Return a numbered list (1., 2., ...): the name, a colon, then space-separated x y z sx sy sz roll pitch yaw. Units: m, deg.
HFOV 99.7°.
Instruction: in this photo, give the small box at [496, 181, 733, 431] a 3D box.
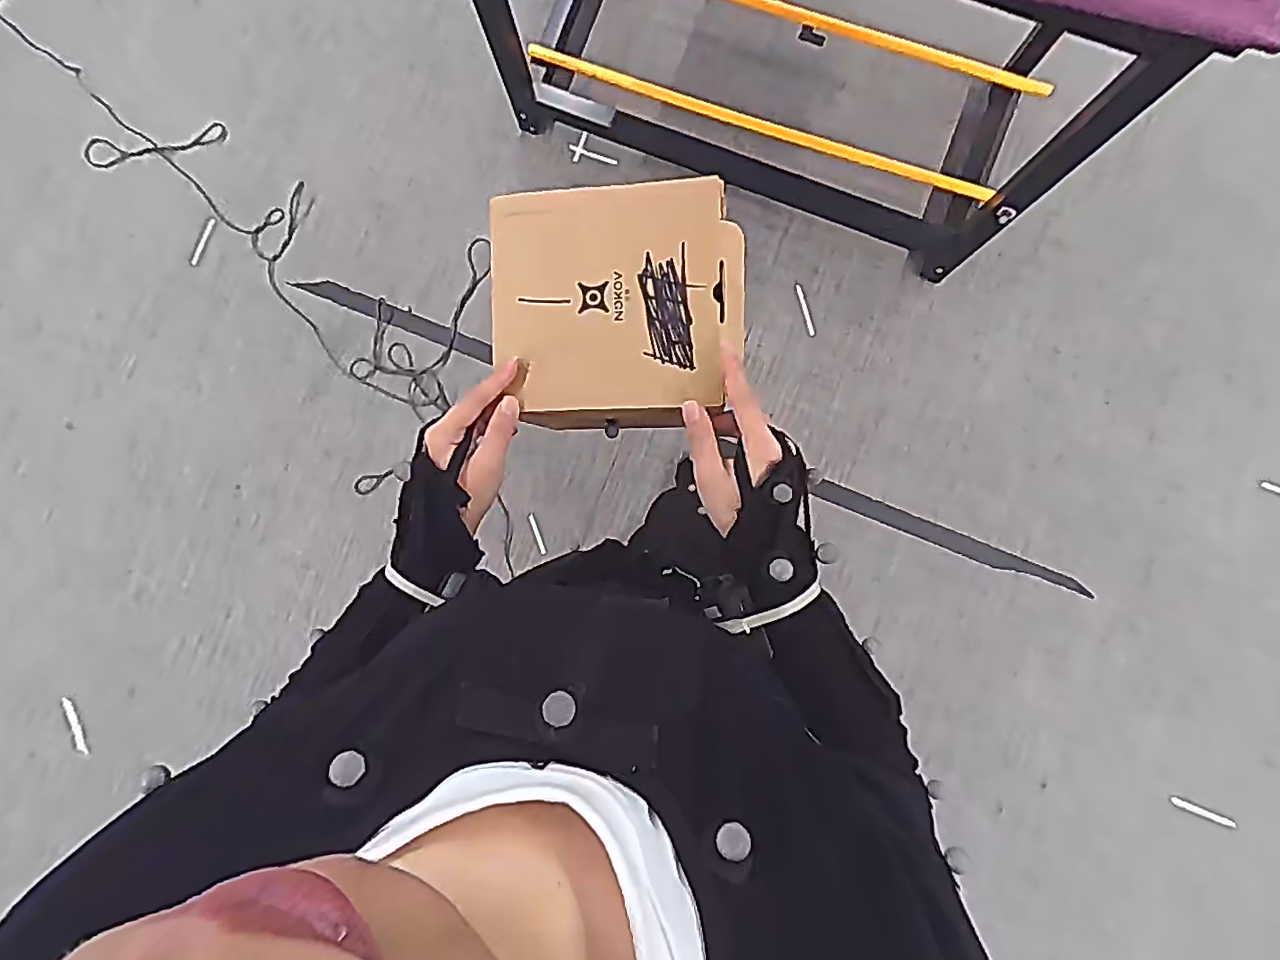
1. small box: -0.012 -0.133 0.474 0.179 0.176 0.168 -1 90 7
